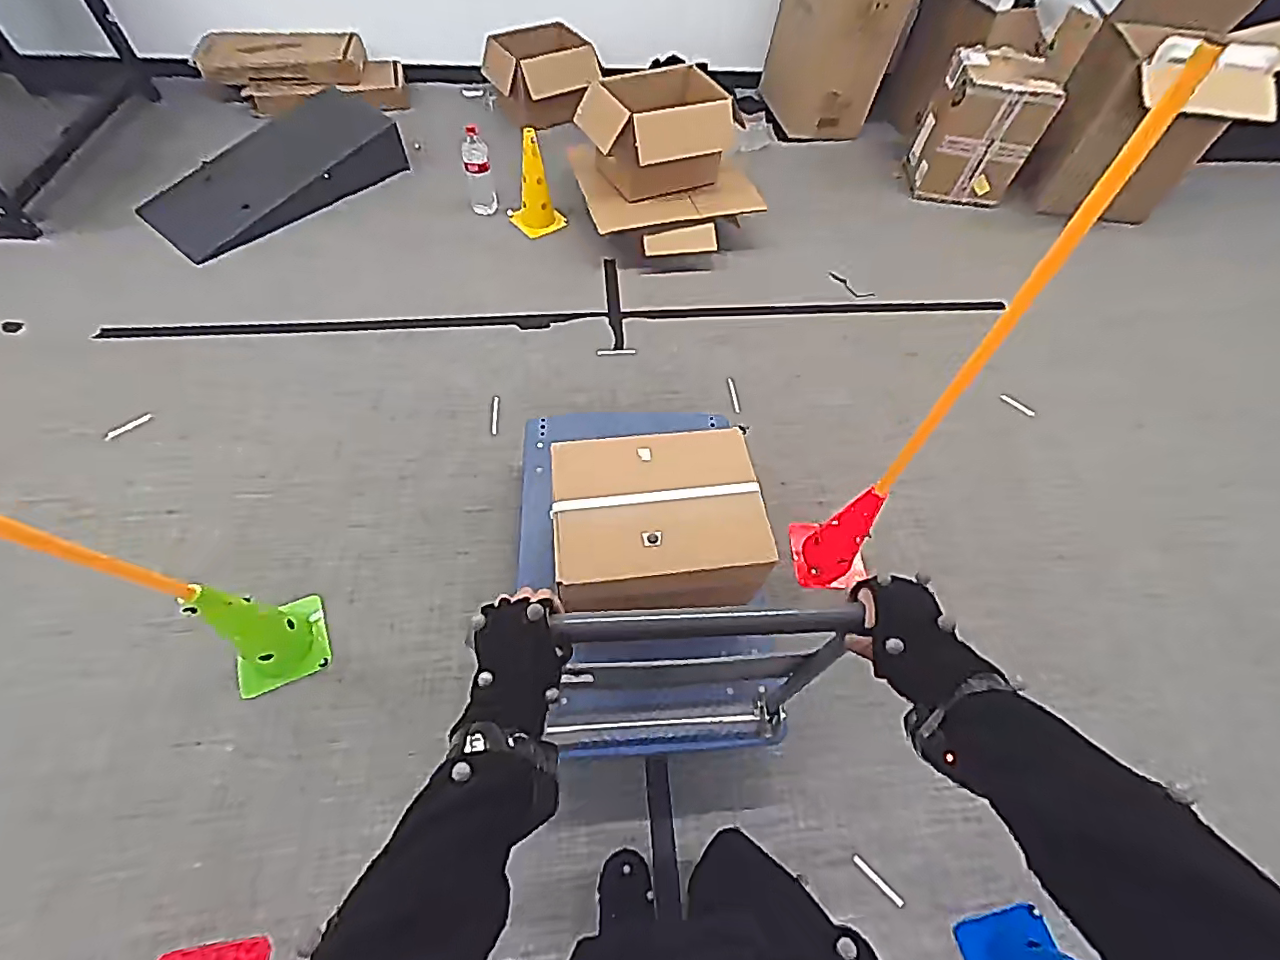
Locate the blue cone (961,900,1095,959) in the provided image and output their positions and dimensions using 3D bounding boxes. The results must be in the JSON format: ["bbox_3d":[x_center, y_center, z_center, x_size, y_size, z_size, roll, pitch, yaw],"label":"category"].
[{"bbox_3d":[0.768,0.883,0.940,0.193,0.380,0.192,-6,57,-8],"label":"blue cone"}]

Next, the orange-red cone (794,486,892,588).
[{"bbox_3d":[0.554,0.121,1.392,0.199,0.360,0.198,3,58,-3],"label":"orange-red cone"}]
